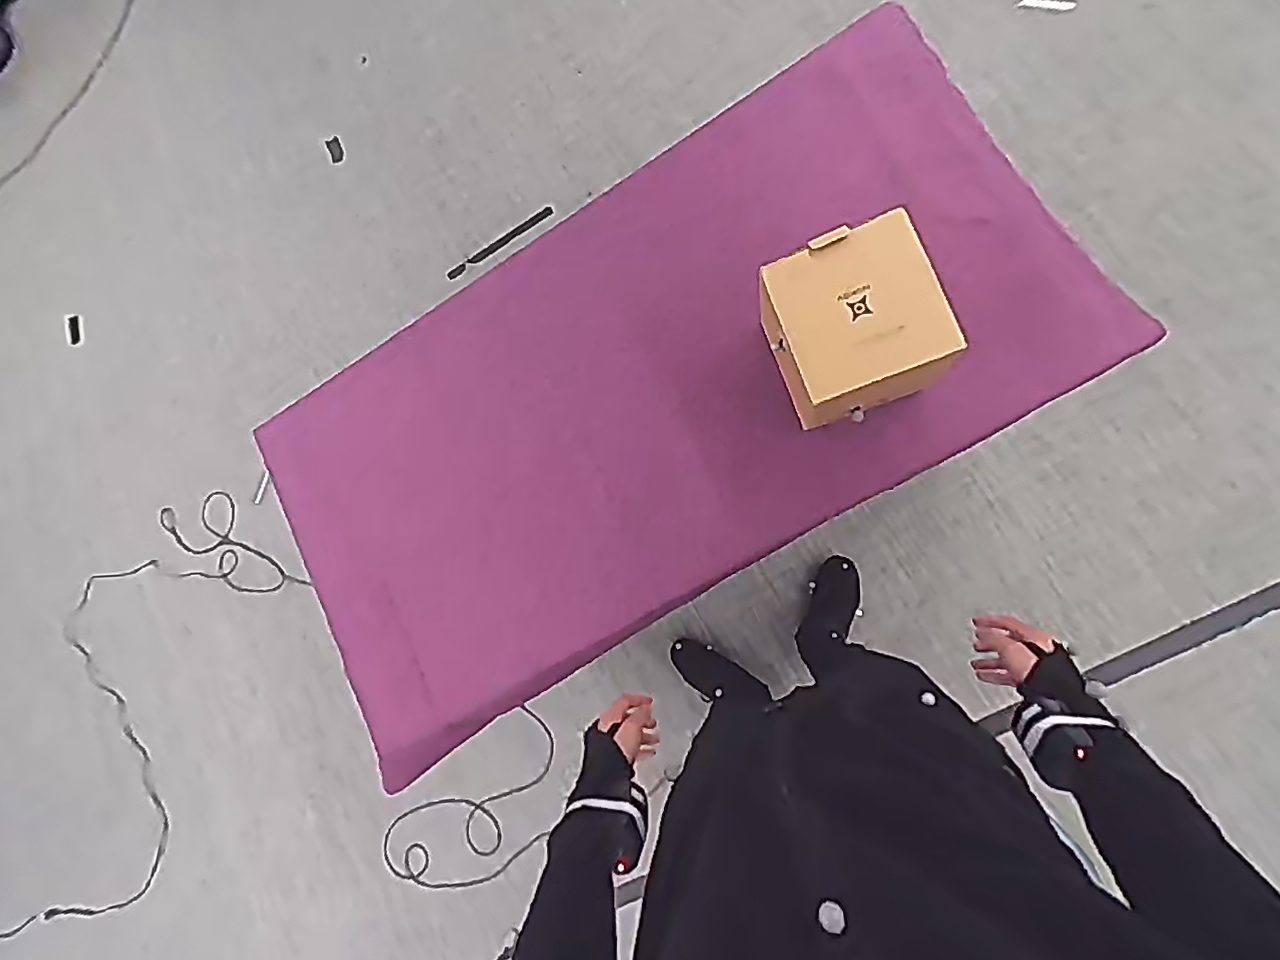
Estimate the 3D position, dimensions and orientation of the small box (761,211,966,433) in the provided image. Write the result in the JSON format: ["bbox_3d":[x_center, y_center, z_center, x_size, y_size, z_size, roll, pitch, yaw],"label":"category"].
[{"bbox_3d":[0.254,-0.177,0.661,0.168,0.176,0.179,-20,79,11],"label":"small box"}]
